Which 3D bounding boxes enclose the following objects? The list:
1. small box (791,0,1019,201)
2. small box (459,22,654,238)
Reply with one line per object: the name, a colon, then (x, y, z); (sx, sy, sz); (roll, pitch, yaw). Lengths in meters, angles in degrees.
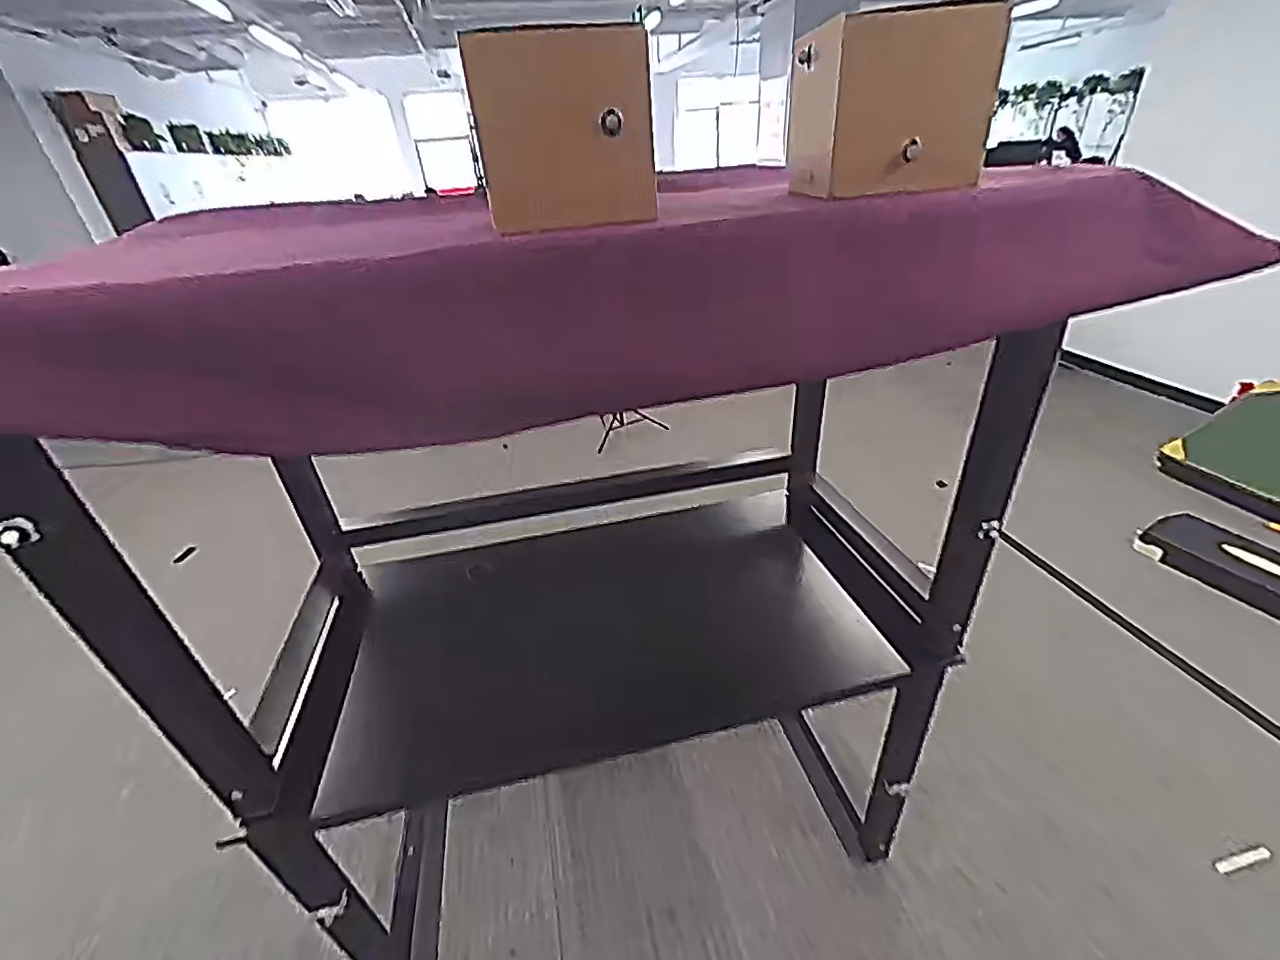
small box: (0.291, -0.436, 0.640); (0.179, 0.176, 0.168); (-5, 30, 0)
small box: (-0.084, -0.372, 0.591); (0.179, 0.176, 0.168); (-10, 30, -8)
